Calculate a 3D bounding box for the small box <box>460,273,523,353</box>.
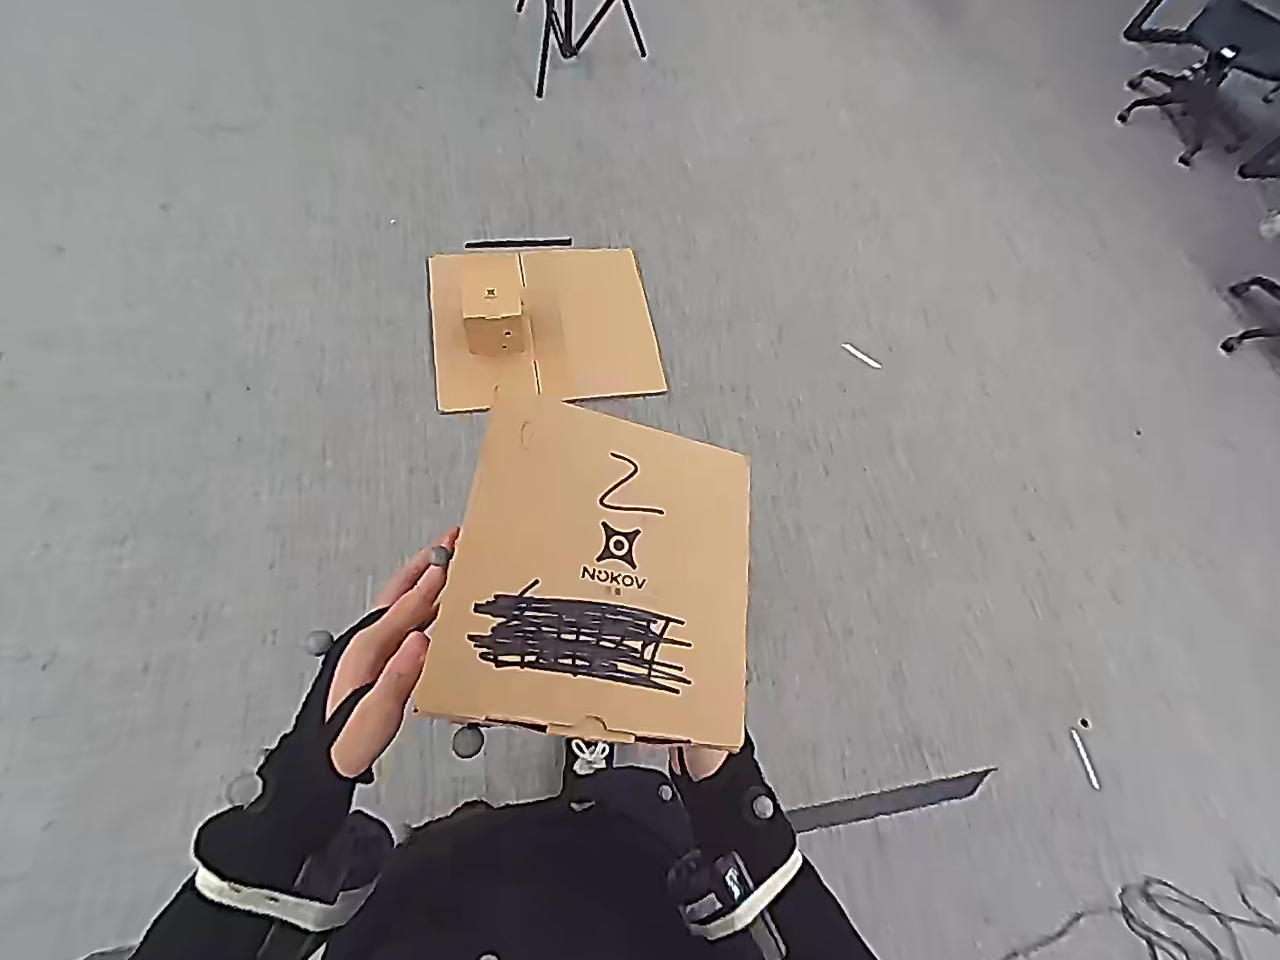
[{"bbox_3d":[-0.448,-0.500,1.640,0.168,0.176,0.179,-6,67,-13],"label":"small box"}]
